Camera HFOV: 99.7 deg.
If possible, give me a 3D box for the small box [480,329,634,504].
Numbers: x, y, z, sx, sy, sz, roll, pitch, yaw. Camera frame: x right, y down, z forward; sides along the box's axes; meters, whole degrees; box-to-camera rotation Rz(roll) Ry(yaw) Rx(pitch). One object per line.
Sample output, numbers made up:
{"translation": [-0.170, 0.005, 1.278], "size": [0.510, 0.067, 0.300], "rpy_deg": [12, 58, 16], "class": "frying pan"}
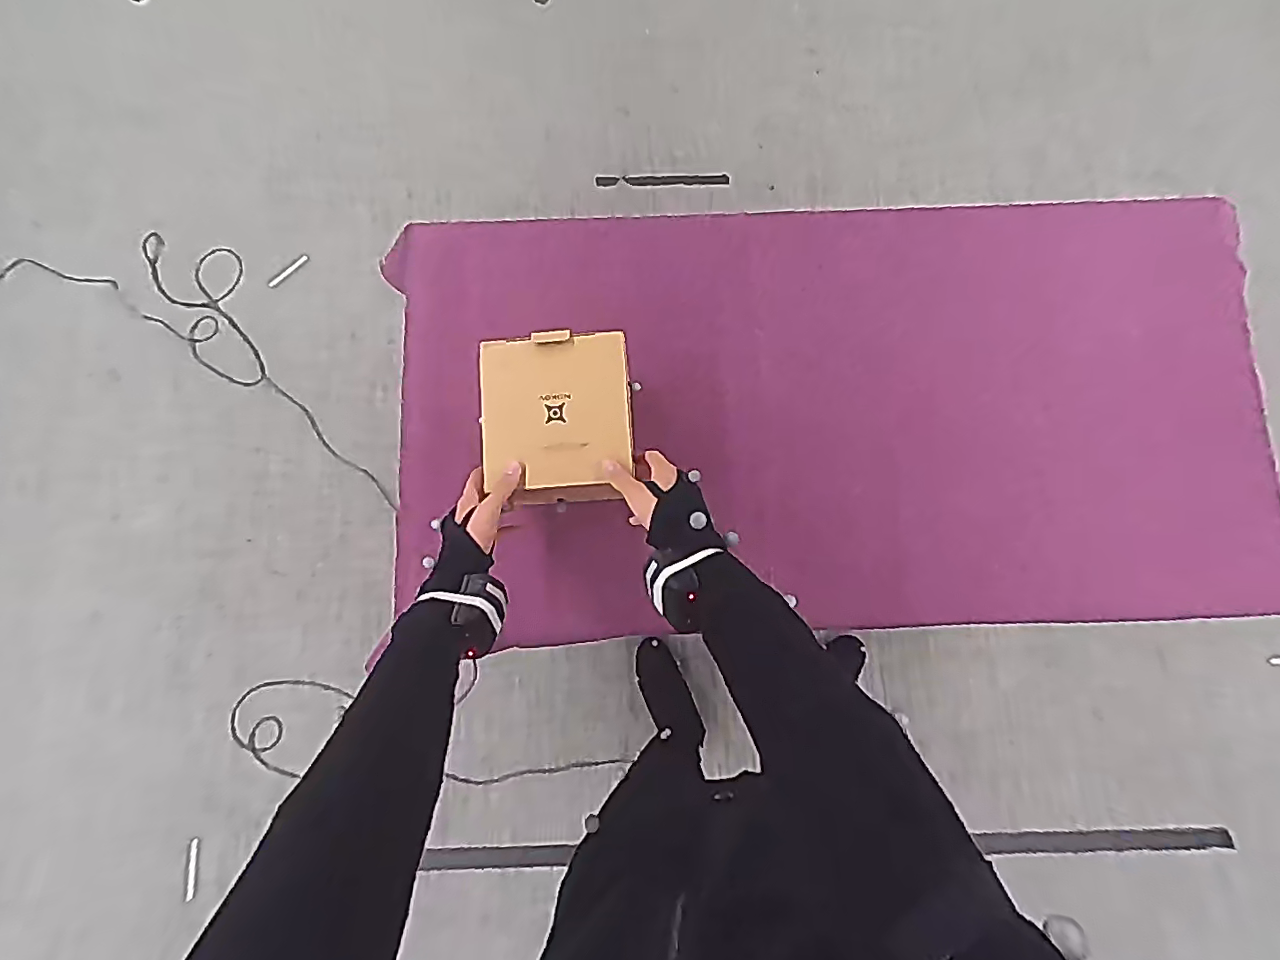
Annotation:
{"translation": [-0.094, -0.068, 0.672], "size": [0.168, 0.176, 0.179], "rpy_deg": [-3, 82, 0], "class": "small box"}
